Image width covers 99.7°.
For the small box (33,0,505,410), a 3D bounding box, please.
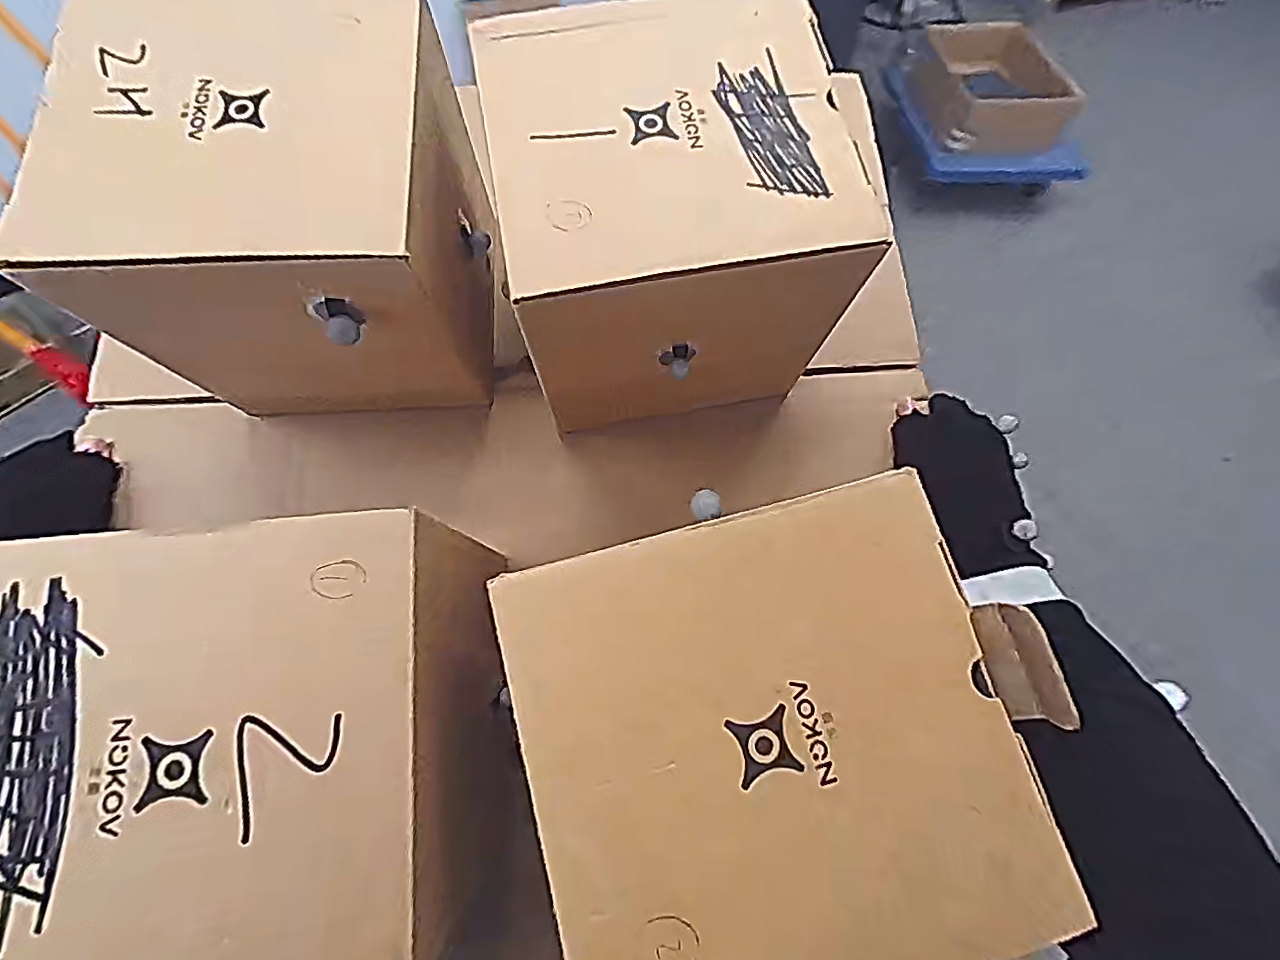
[{"bbox_3d":[-0.190,-0.152,0.343,0.179,0.176,0.168,-1,74,-1],"label":"small box"}]
